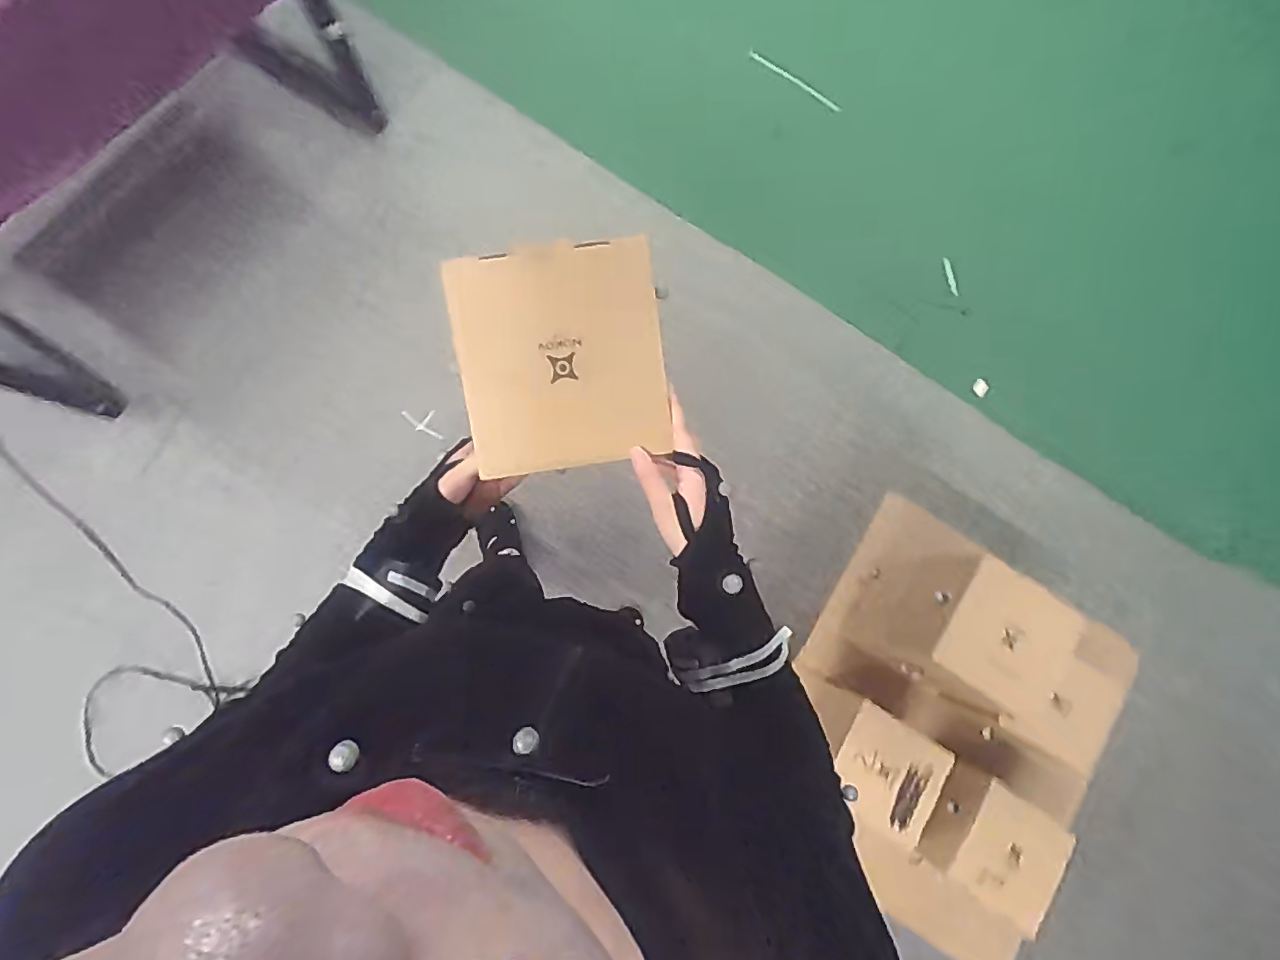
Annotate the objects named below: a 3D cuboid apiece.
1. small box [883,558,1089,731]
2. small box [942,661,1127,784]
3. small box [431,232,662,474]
[{"bbox_3d":[0.508,0.237,0.821,0.168,0.176,0.179,36,80,4],"label":"small box"},{"bbox_3d":[0.696,0.396,0.972,0.179,0.176,0.168,33,78,1],"label":"small box"},{"bbox_3d":[-0.076,-0.114,0.515,0.168,0.176,0.179,-9,100,-3],"label":"small box"}]
